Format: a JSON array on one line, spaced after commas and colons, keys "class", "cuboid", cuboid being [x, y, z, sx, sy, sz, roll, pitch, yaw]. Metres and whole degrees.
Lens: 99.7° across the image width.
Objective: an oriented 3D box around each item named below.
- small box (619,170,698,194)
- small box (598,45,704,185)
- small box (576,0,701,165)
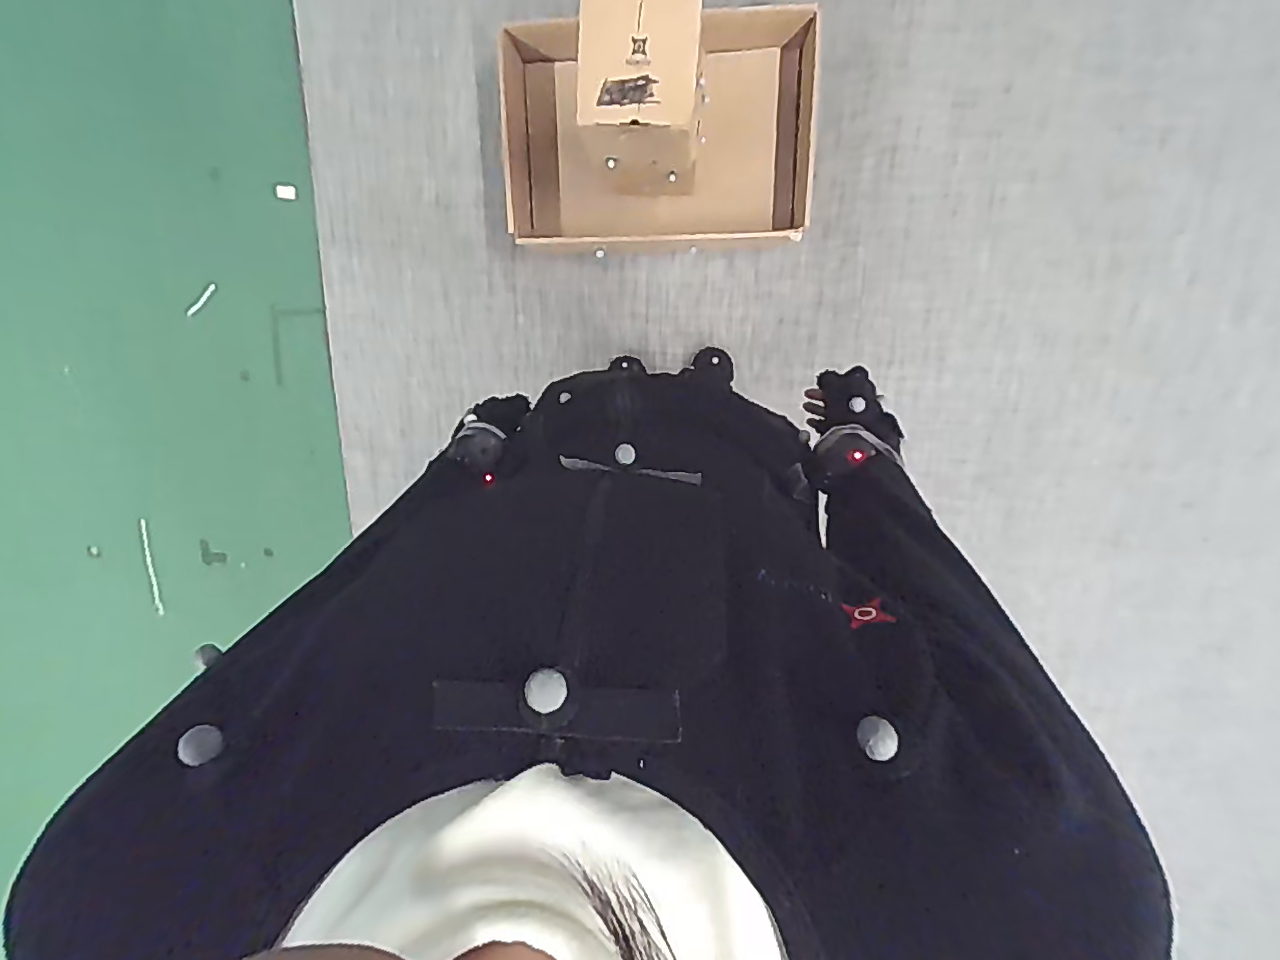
[{"class": "small box", "cuboid": [0.034, -0.708, 1.127, 0.179, 0.176, 0.168, 0, 103, 5]}, {"class": "small box", "cuboid": [0.020, -0.637, 0.959, 0.179, 0.176, 0.168, 0, 104, 5]}, {"class": "small box", "cuboid": [0.003, -0.598, 0.817, 0.168, 0.176, 0.179, 5, 103, 4]}]
